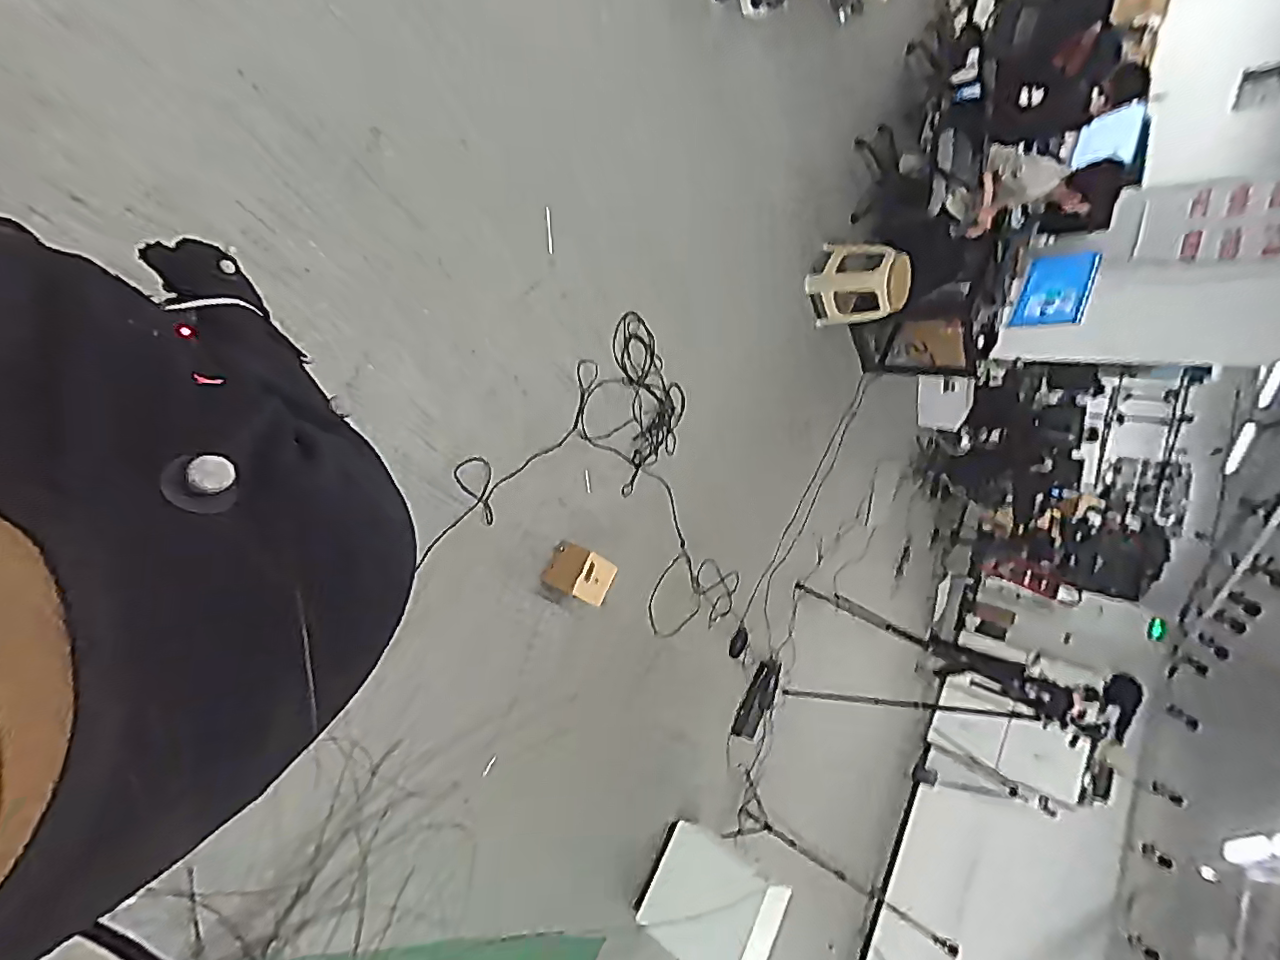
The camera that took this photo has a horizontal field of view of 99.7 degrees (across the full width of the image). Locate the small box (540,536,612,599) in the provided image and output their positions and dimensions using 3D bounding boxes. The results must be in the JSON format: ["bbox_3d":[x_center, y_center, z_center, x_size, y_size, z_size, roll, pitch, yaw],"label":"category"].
[{"bbox_3d":[-0.244,0.324,2.029,0.179,0.176,0.168,43,68,-47],"label":"small box"}]
